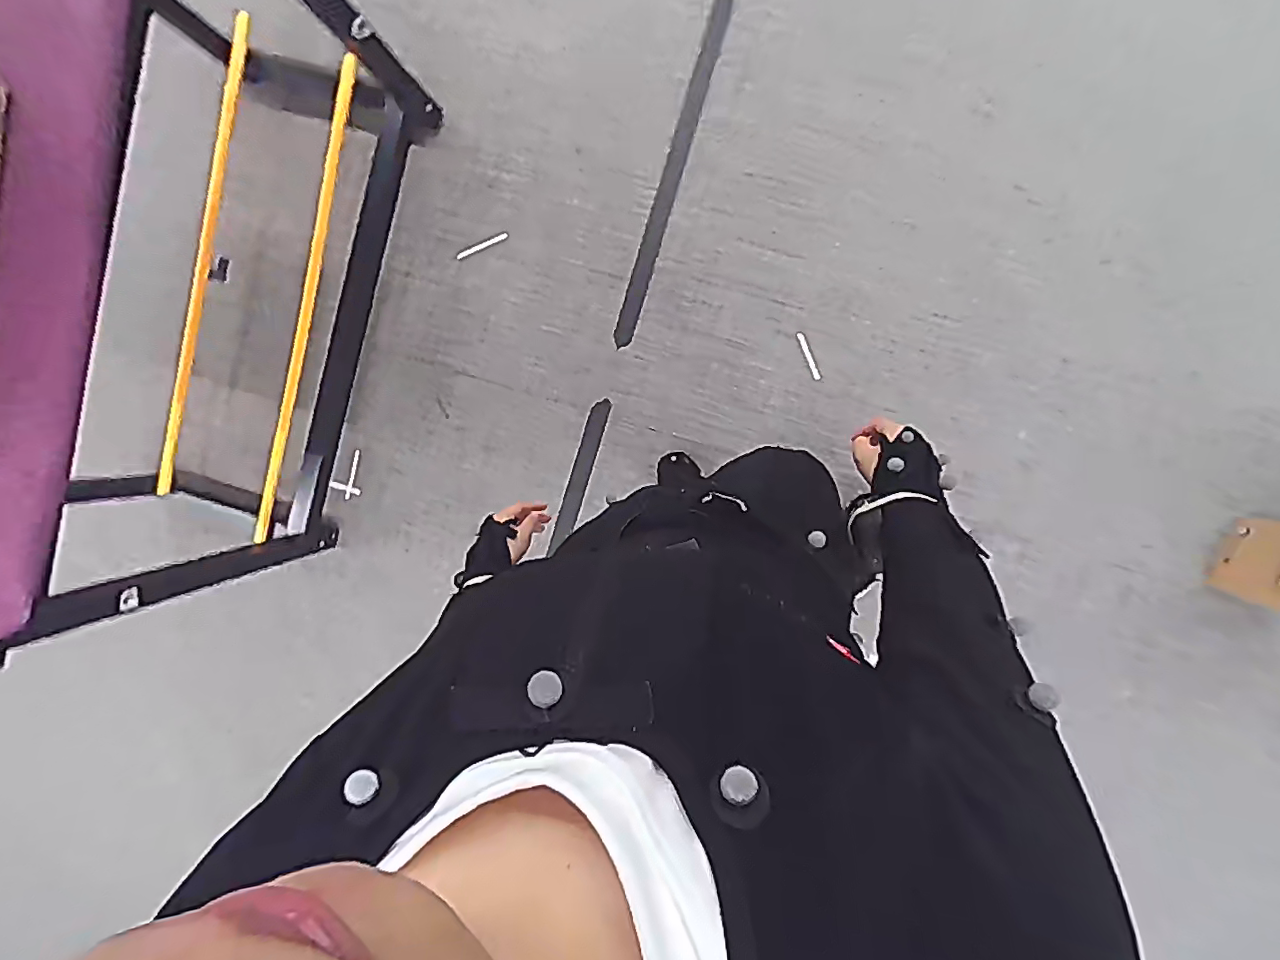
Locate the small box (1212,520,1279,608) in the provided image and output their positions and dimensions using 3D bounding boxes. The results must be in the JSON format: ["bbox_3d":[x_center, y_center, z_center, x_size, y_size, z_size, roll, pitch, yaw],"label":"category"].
[{"bbox_3d":[1.381,0.192,1.130,0.179,0.176,0.168,19,97,4],"label":"small box"}]
